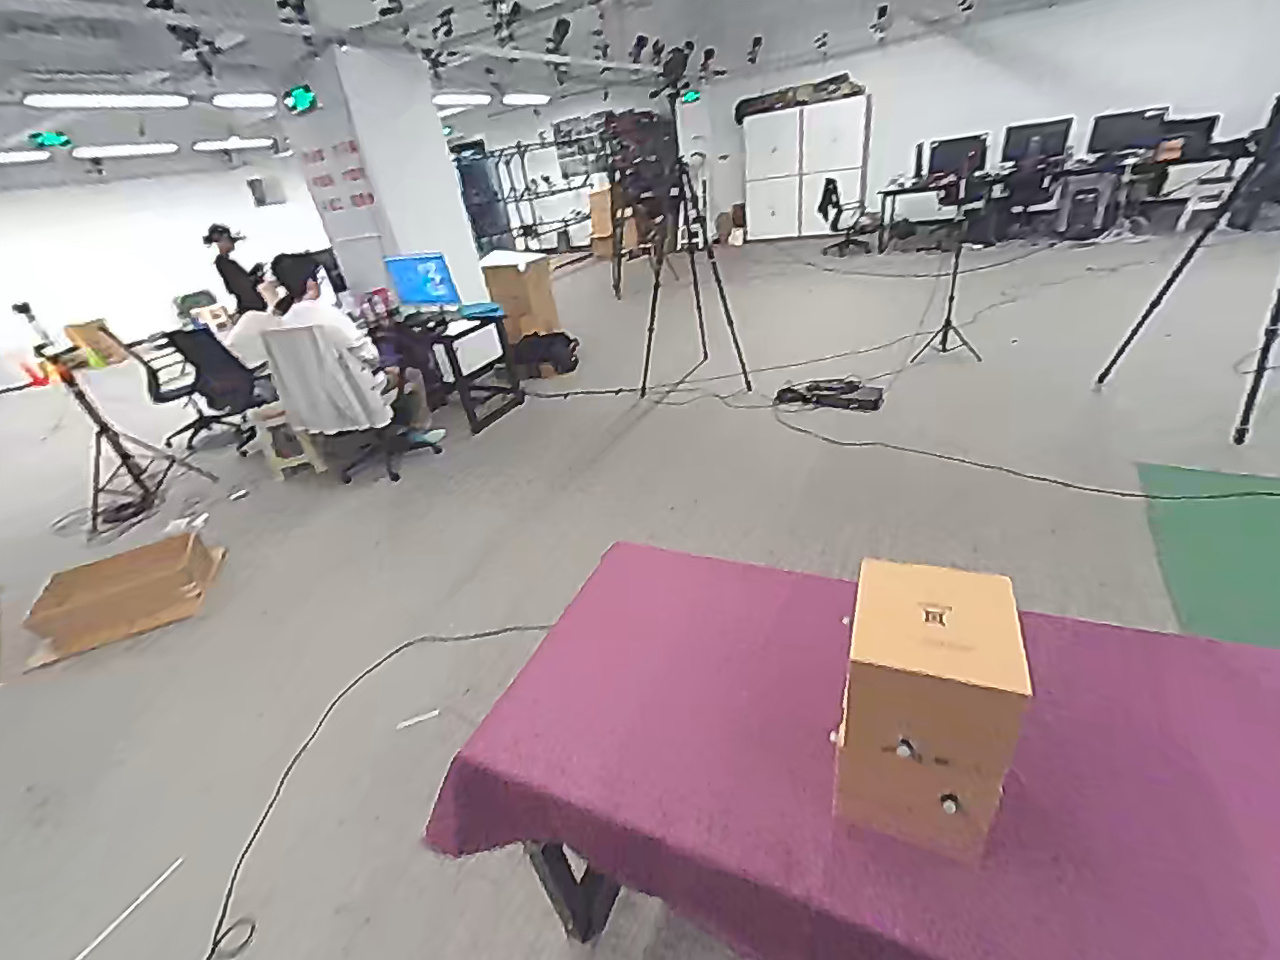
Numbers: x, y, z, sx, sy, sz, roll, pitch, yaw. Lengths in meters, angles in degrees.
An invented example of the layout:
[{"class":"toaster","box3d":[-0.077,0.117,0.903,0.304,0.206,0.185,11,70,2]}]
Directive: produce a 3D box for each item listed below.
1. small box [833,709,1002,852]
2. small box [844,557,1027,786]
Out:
[{"class":"small box","box3d":[0.368,0.362,0.734,0.179,0.176,0.168,6,34,26]},{"class":"small box","box3d":[0.343,0.222,0.654,0.168,0.176,0.179,5,34,25]}]
